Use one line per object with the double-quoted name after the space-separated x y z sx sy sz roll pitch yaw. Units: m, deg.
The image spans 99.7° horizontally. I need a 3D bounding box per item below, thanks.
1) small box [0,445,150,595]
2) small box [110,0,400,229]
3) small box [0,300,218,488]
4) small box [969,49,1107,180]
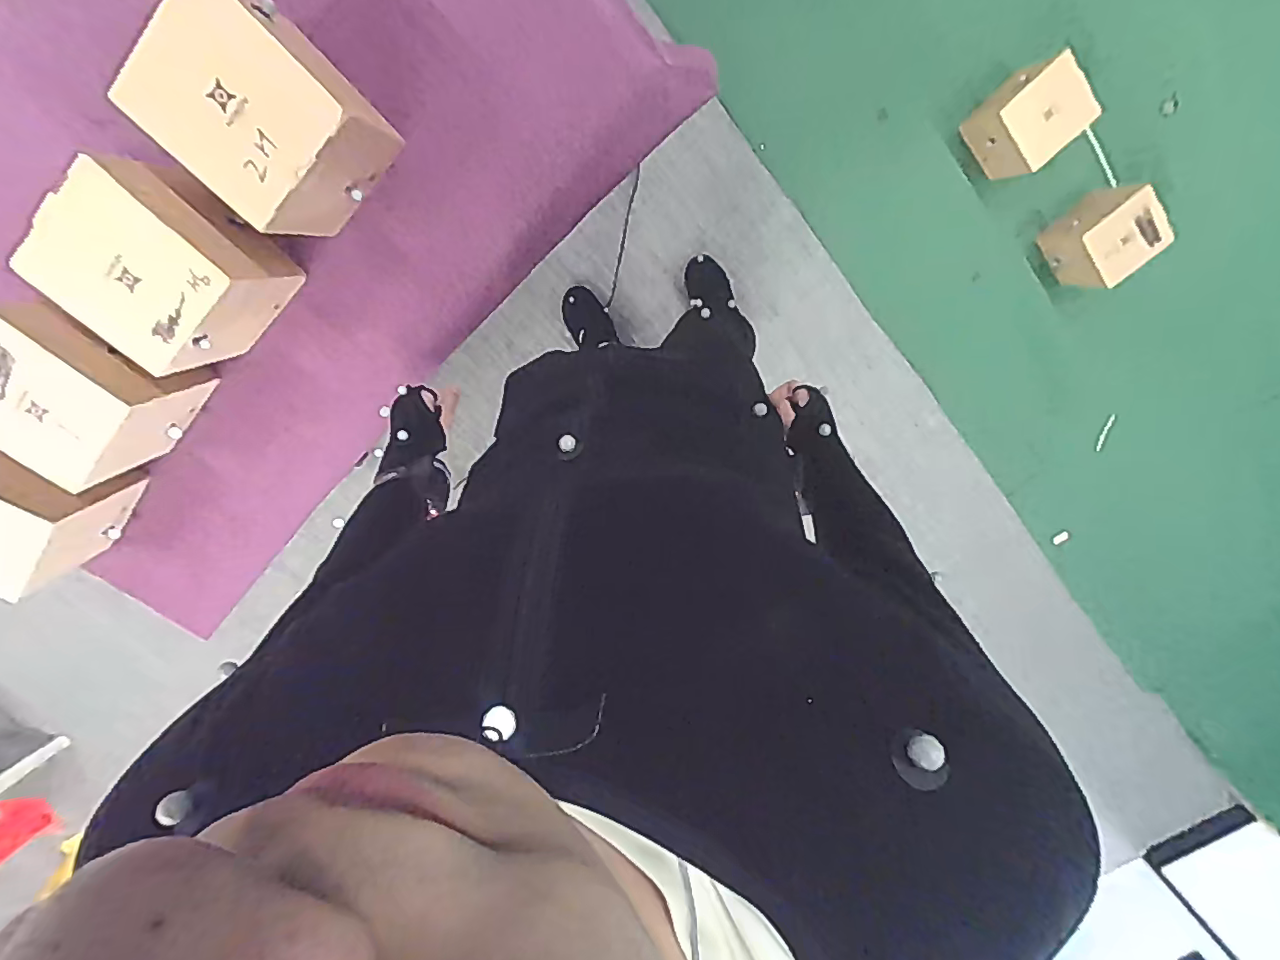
-0.902 0.028 0.798 0.179 0.176 0.168 38 108 -16 "small box"
-0.421 -0.413 0.624 0.168 0.176 0.179 -41 109 15 "small box"
-0.746 -0.126 0.737 0.168 0.176 0.179 -43 109 15 "small box"
0.915 -0.839 1.267 0.179 0.176 0.168 -42 107 14 "small box"
